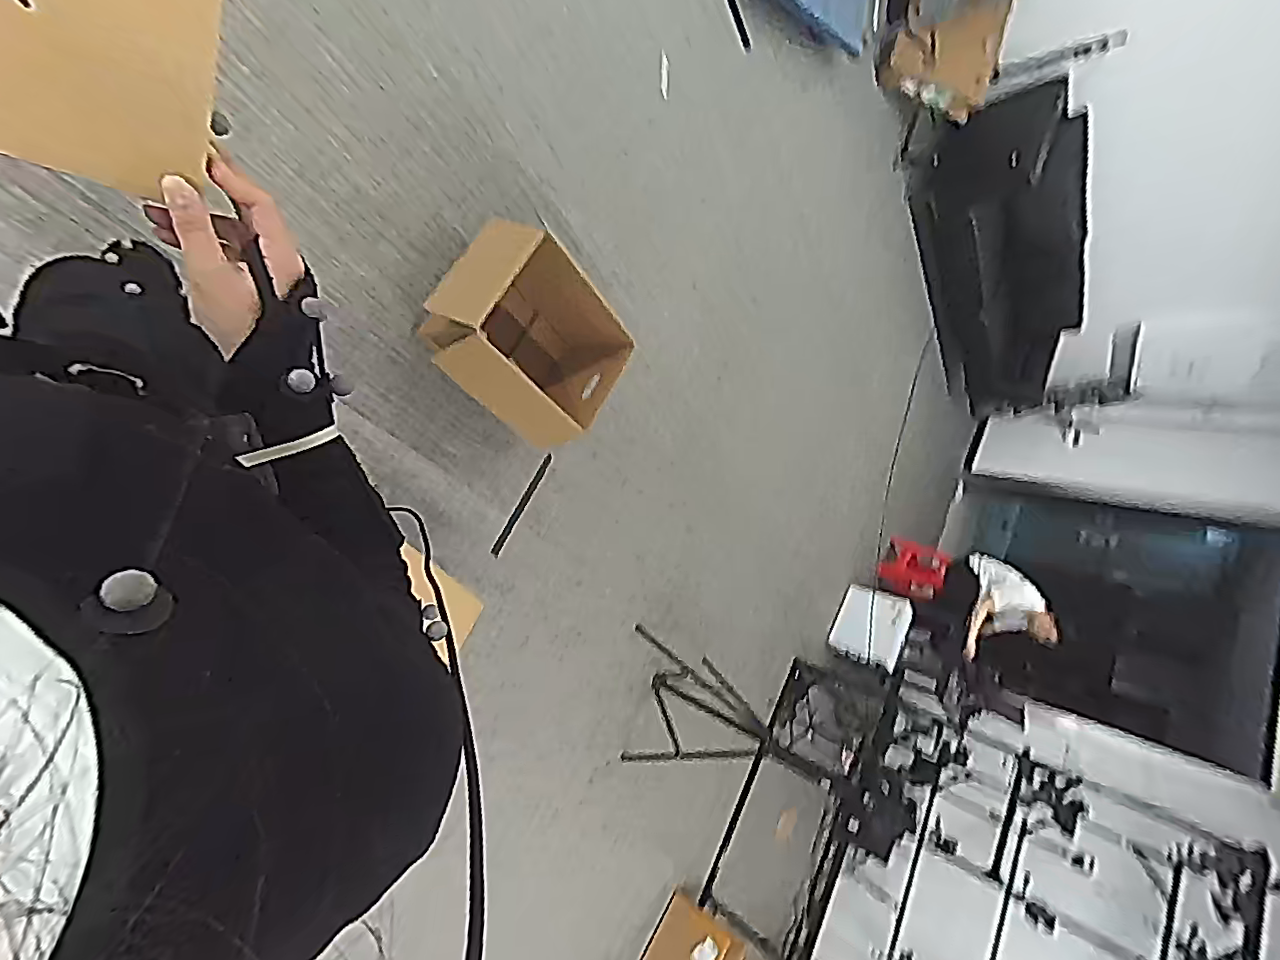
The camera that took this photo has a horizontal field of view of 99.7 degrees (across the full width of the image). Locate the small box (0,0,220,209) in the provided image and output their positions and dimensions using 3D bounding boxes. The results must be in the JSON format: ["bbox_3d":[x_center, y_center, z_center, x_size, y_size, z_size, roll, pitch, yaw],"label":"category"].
[{"bbox_3d":[-0.353,-0.272,0.295,0.179,0.176,0.168,3,111,-45],"label":"small box"}]
